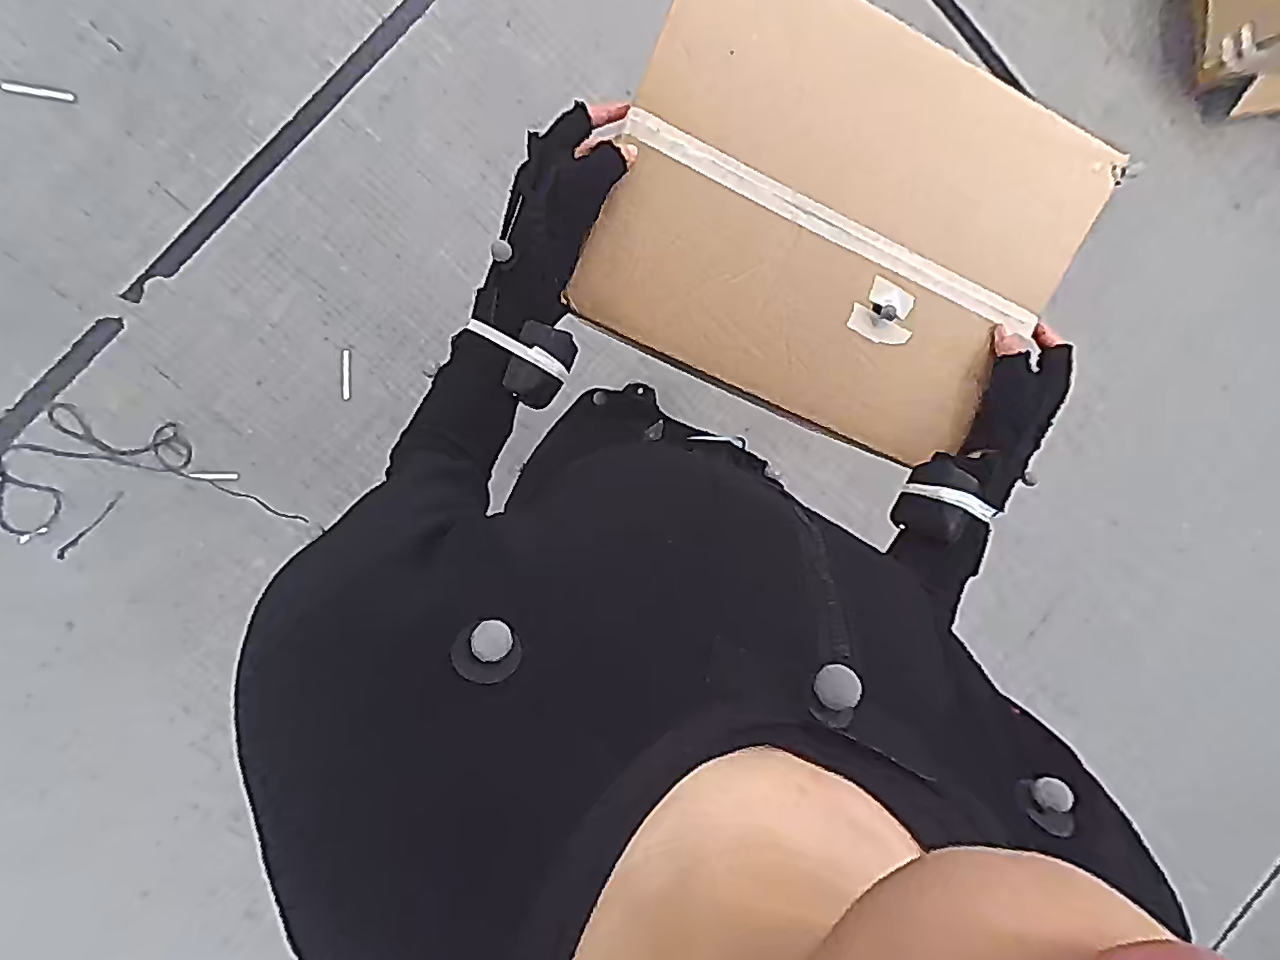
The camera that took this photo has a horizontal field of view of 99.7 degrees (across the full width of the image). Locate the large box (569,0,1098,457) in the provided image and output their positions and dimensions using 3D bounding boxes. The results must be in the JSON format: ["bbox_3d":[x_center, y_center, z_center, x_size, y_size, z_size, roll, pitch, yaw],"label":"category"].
[{"bbox_3d":[0.162,-0.266,0.627,0.408,0.320,0.320,23,103,-10],"label":"large box"}]
